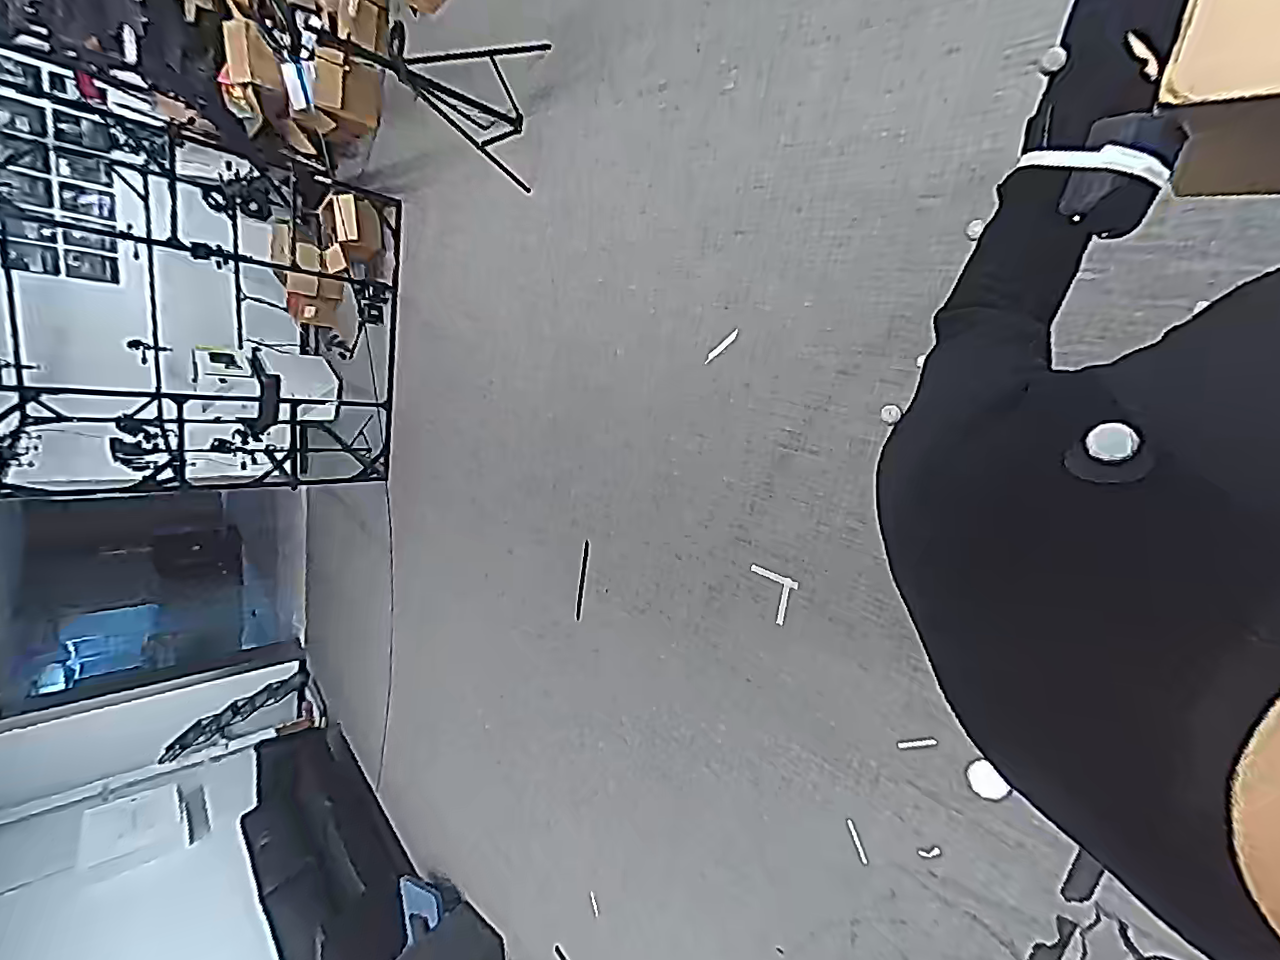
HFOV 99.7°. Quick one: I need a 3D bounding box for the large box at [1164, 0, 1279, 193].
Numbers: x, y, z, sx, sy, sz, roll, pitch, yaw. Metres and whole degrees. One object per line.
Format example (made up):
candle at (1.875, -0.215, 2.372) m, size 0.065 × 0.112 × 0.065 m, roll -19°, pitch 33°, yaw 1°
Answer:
large box at (0.611, -0.370, 0.297) m, size 0.408 × 0.320 × 0.320 m, roll 22°, pitch 116°, yaw 40°
